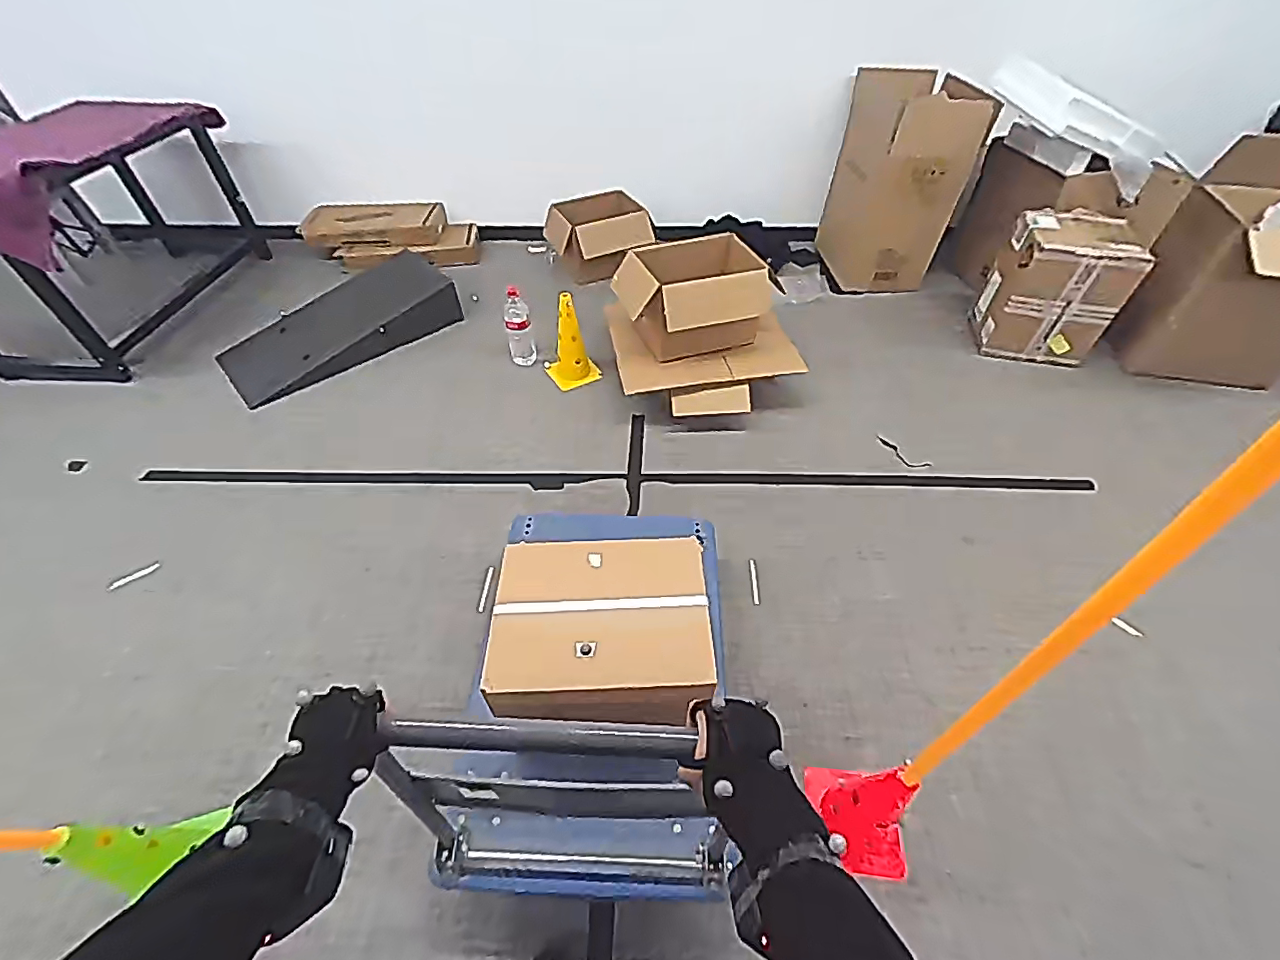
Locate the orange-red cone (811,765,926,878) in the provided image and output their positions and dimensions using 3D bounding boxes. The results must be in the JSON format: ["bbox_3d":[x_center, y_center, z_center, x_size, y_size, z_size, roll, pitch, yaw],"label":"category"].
[{"bbox_3d":[0.484,0.639,1.074,0.199,0.360,0.198,7,49,5],"label":"orange-red cone"}]
